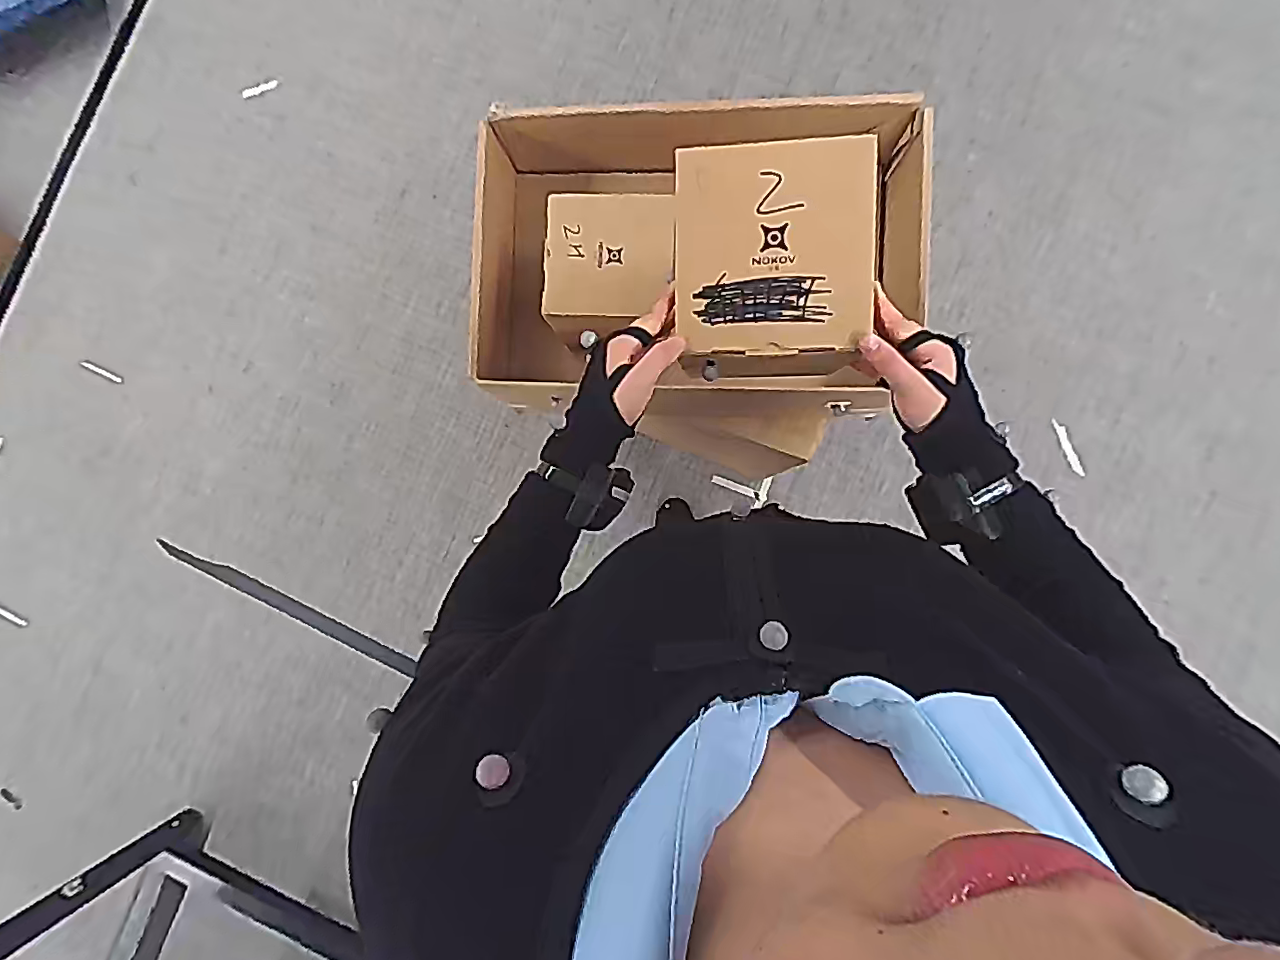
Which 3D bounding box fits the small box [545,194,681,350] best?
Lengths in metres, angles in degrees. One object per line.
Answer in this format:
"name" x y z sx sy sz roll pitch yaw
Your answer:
"small box" -0.031 -0.296 0.798 0.179 0.176 0.168 3 88 5
